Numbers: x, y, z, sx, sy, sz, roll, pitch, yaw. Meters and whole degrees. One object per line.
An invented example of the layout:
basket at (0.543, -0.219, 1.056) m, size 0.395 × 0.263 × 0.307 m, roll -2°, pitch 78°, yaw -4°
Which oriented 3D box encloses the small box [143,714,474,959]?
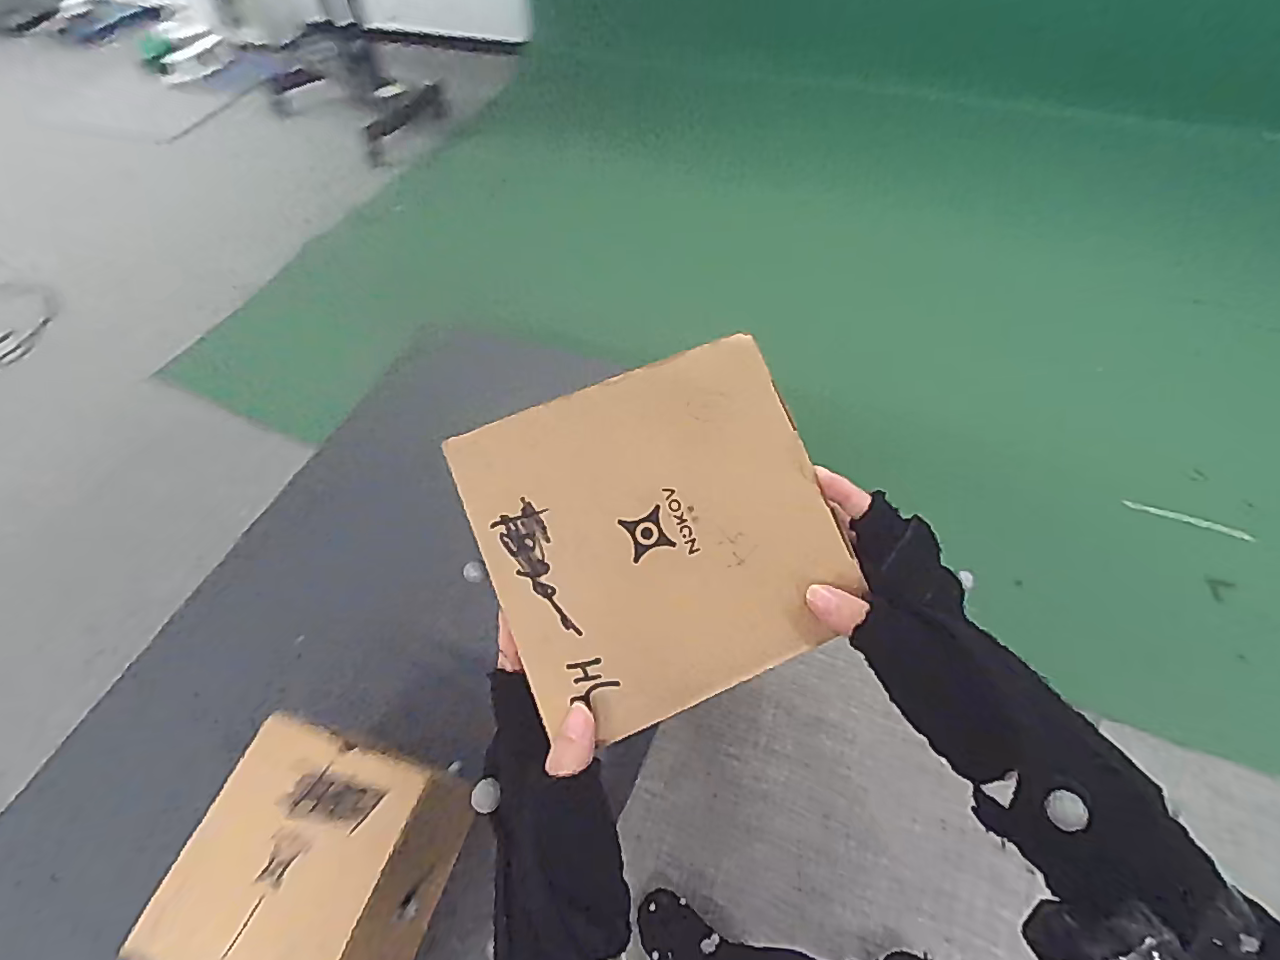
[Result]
small box at (-0.274, 0.347, 0.505) m, size 0.168 × 0.176 × 0.179 m, roll 11°, pitch 56°, yaw 10°
